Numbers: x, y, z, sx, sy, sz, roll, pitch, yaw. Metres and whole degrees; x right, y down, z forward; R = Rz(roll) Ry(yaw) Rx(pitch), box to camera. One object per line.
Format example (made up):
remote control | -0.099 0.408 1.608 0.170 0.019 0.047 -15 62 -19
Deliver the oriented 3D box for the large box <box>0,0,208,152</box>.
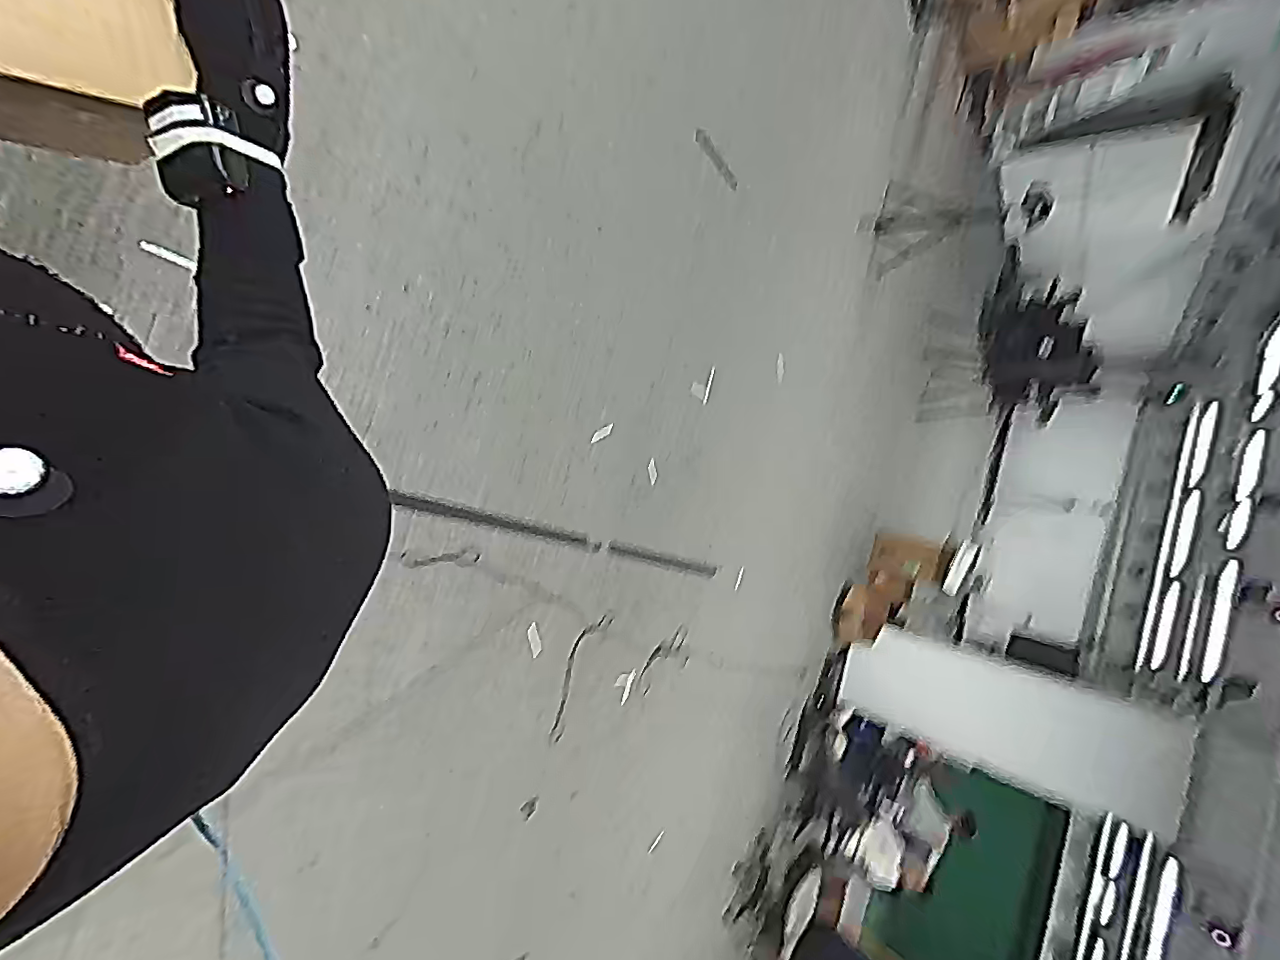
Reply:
large box | -0.571 -0.437 0.327 0.408 0.320 0.320 -14 117 -48
